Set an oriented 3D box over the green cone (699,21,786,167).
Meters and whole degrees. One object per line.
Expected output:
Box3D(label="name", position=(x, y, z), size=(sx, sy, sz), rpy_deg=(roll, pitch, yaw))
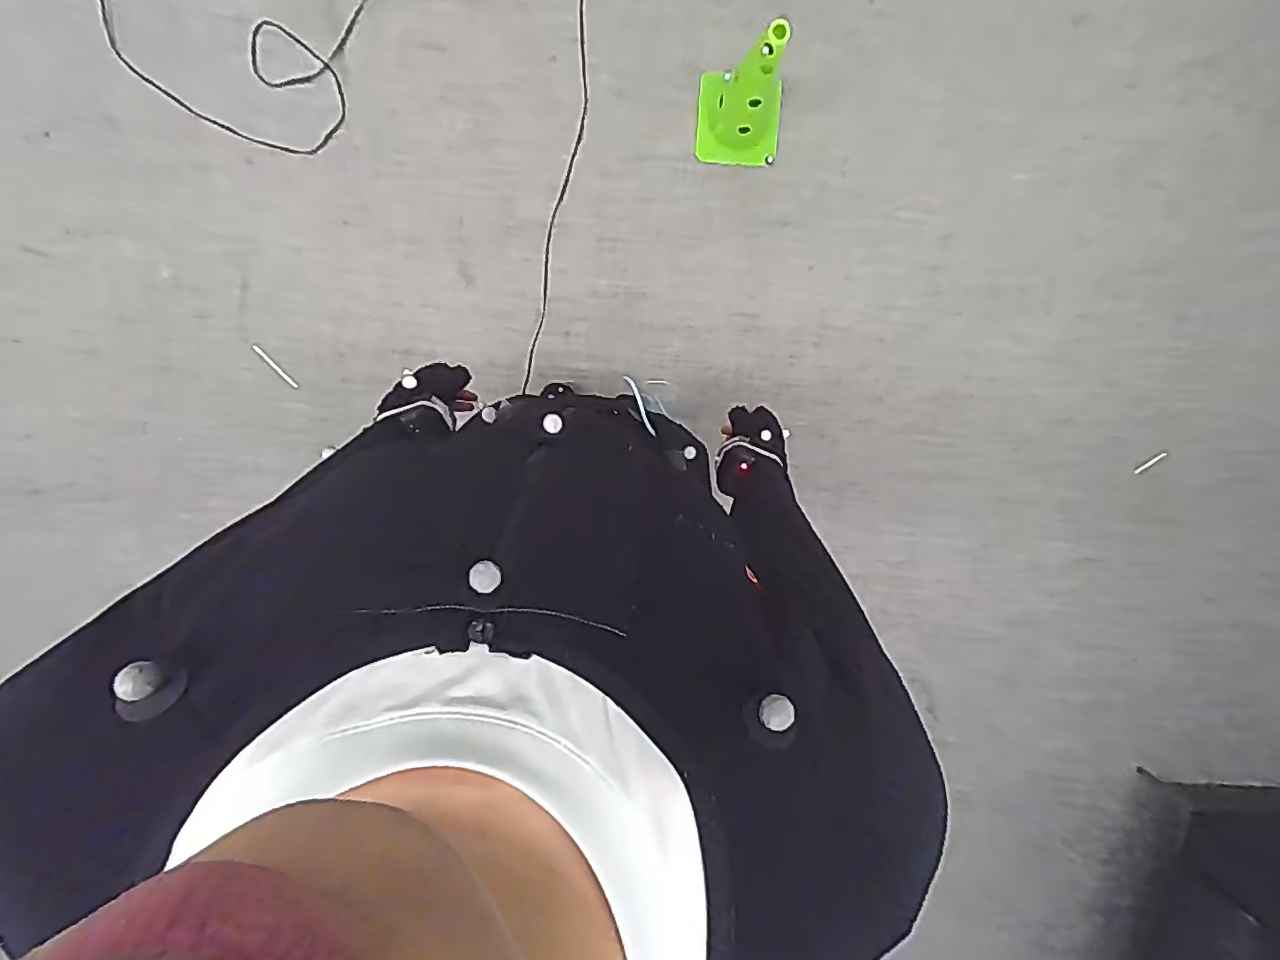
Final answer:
Box3D(label="green cone", position=(0.249, -0.846, 1.153), size=(0.202, 0.368, 0.200), rpy_deg=(3, 100, -1))
